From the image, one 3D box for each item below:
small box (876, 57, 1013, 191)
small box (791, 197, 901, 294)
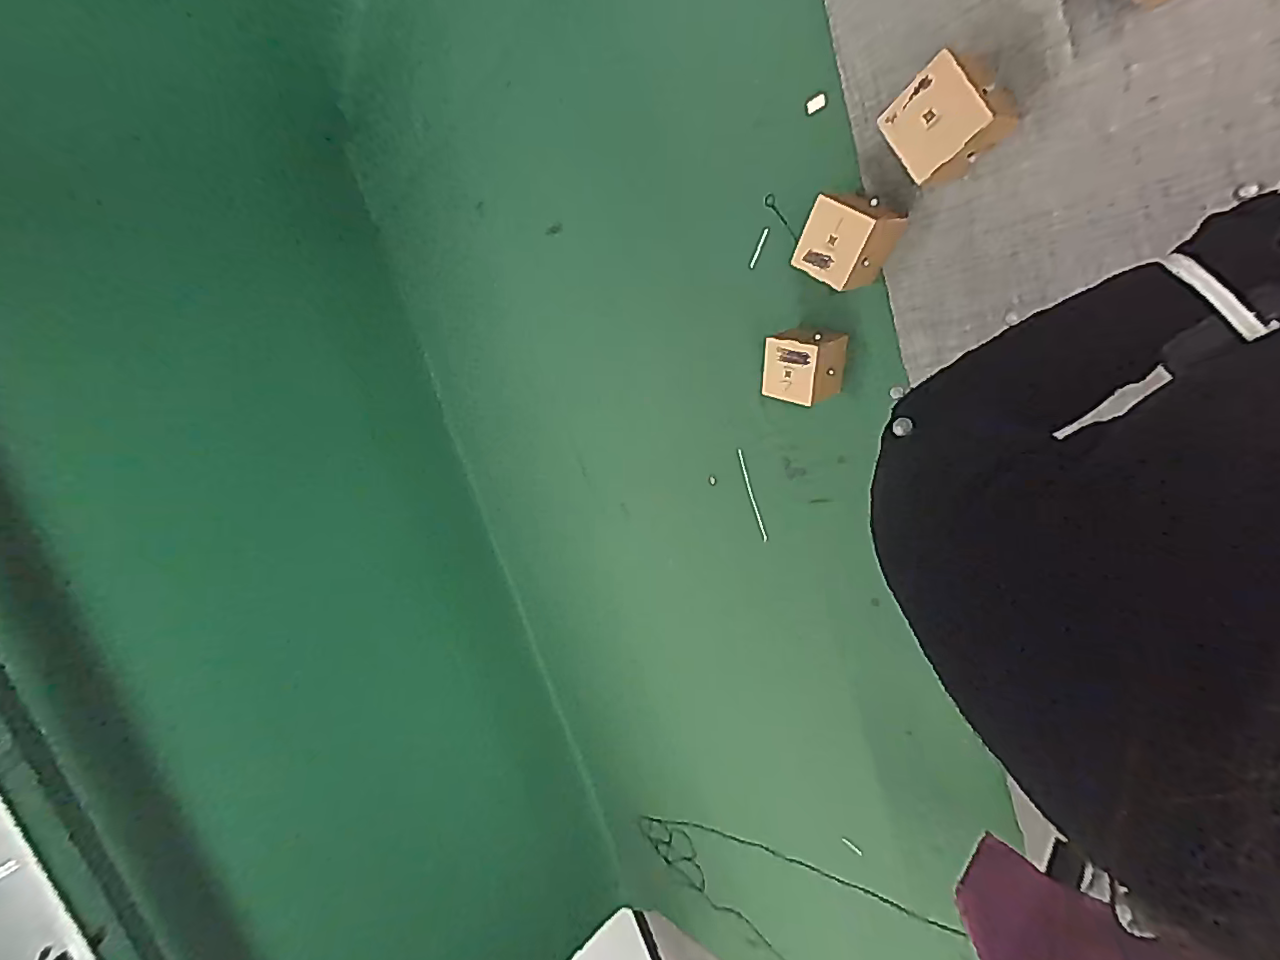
[{"bbox_3d":[0.651,-0.752,1.152,0.168,0.176,0.179,-36,81,52],"label":"small box"},{"bbox_3d":[0.527,-0.602,1.380,0.168,0.176,0.179,43,137,26],"label":"small box"}]
